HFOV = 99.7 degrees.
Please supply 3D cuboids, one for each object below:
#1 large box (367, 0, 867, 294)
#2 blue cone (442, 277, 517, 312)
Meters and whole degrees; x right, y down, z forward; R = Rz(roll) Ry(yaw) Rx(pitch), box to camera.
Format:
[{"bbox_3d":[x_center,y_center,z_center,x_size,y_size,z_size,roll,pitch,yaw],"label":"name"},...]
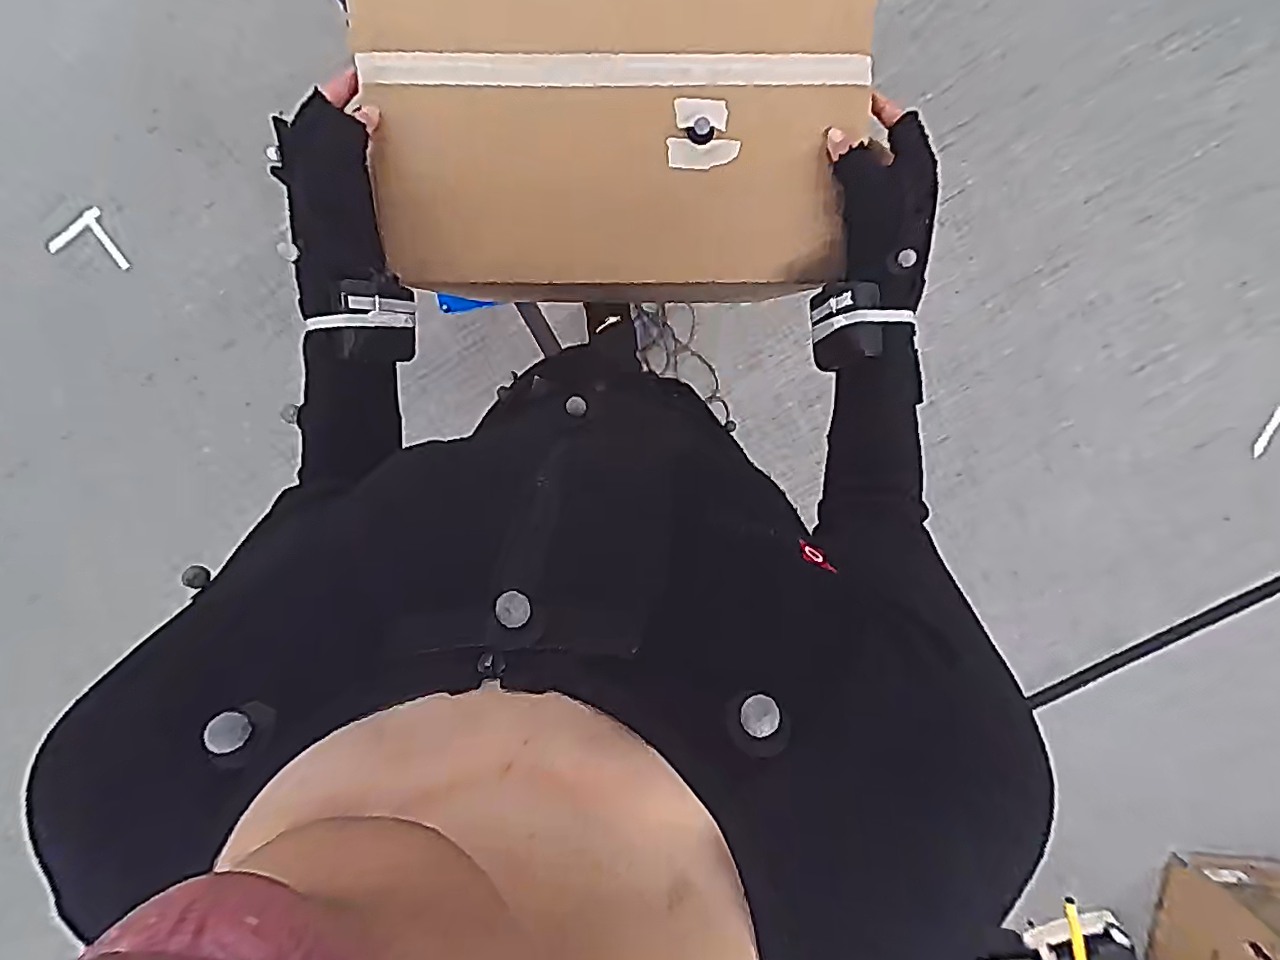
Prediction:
[{"bbox_3d":[-0.022,-0.377,0.582,0.408,0.320,0.320,-1,106,-2],"label":"large box"},{"bbox_3d":[-0.422,-0.508,1.219,0.193,0.380,0.192,-8,101,5],"label":"blue cone"}]
